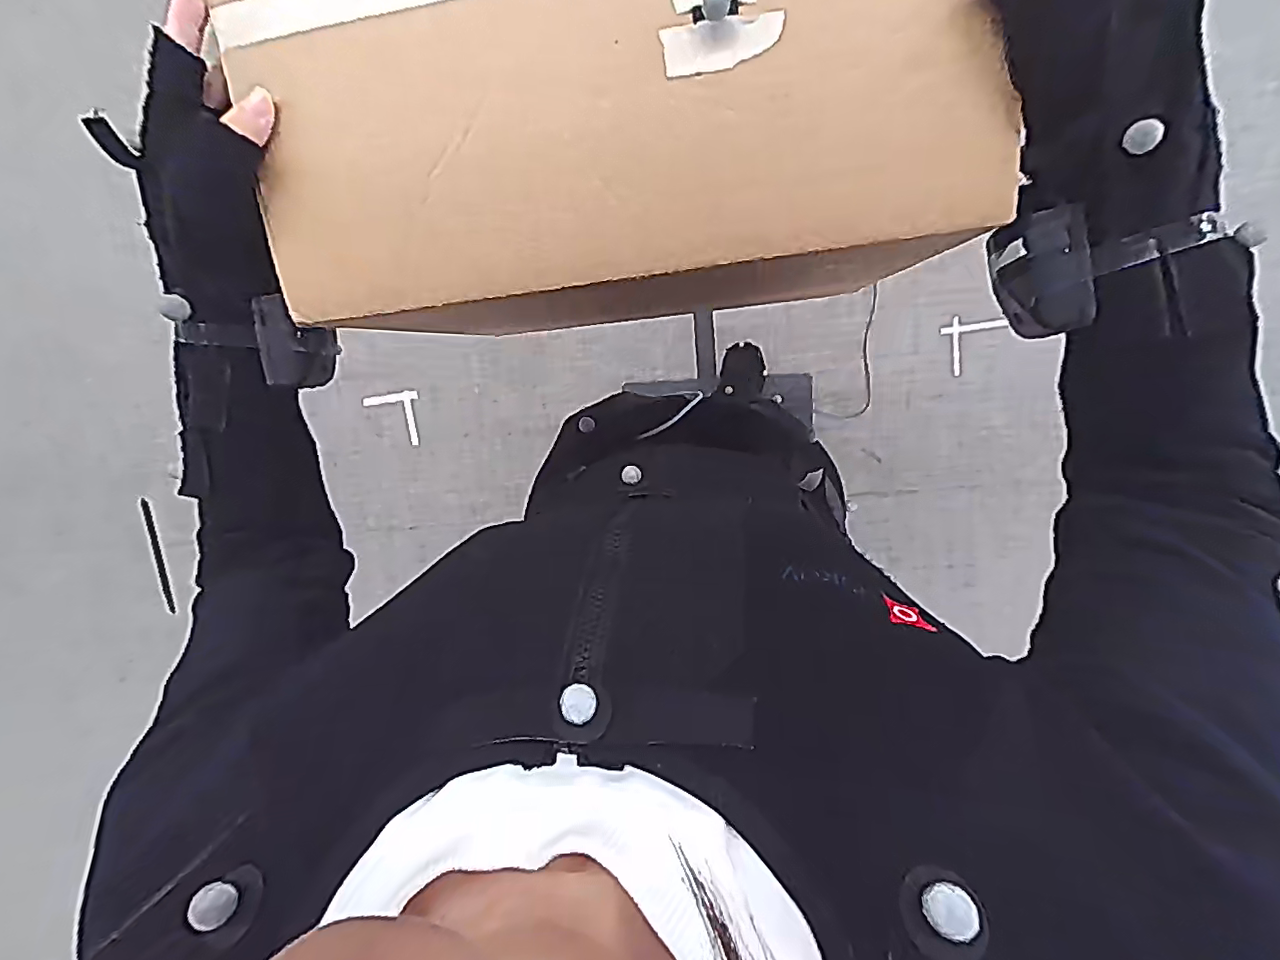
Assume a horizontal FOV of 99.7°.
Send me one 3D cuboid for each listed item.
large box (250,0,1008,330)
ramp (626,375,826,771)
[{"bbox_3d":[-0.007,-0.307,0.422,0.408,0.320,0.320,-5,103,9],"label":"large box"},{"bbox_3d":[0.210,0.236,1.405,0.509,0.206,0.991,-3,98,11],"label":"ramp"}]
